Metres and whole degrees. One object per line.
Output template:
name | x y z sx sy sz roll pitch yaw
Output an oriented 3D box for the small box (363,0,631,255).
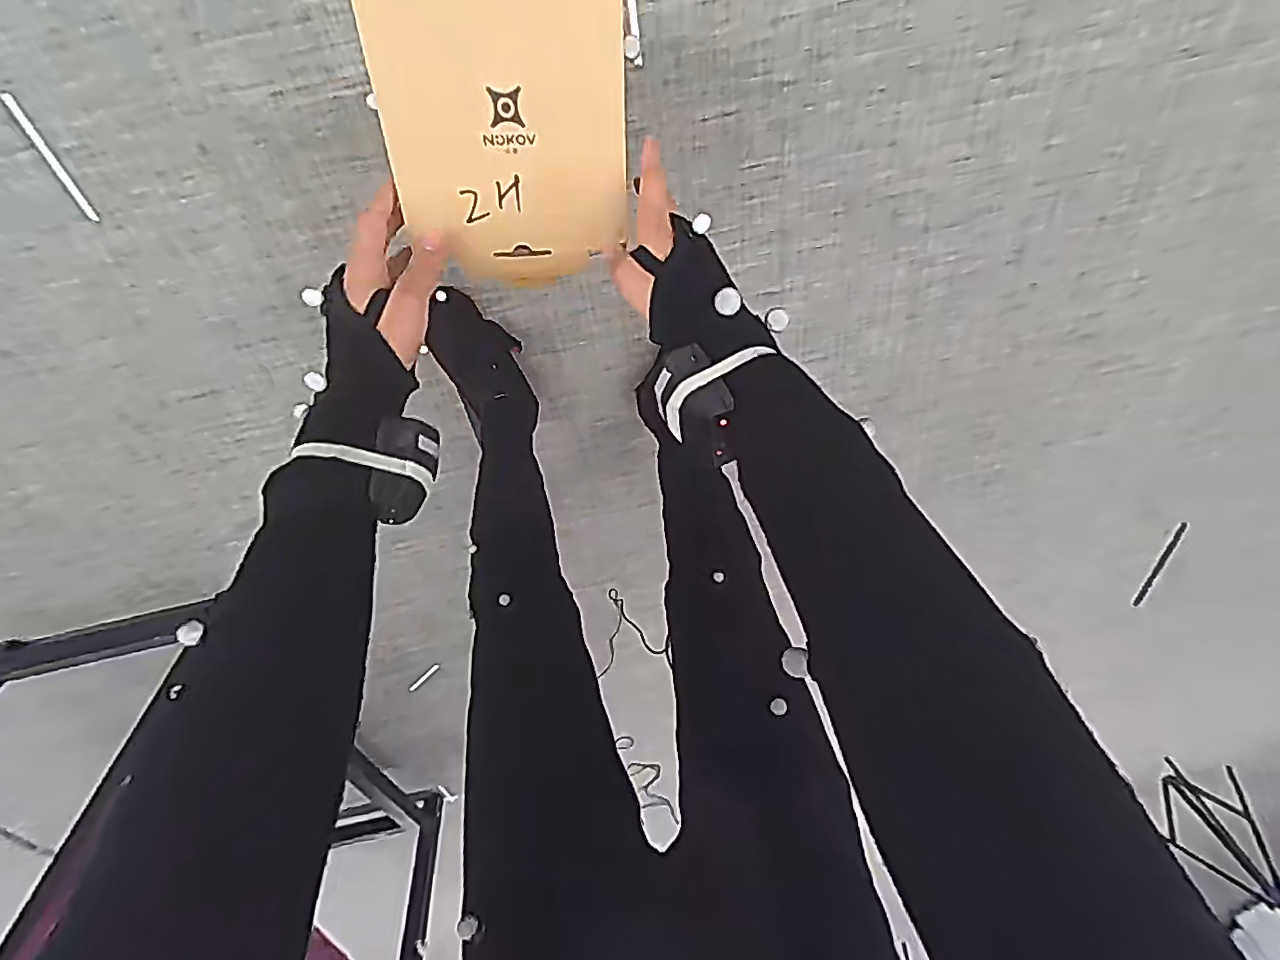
small box | -0.100 -0.294 0.433 0.168 0.176 0.179 -4 128 -7
